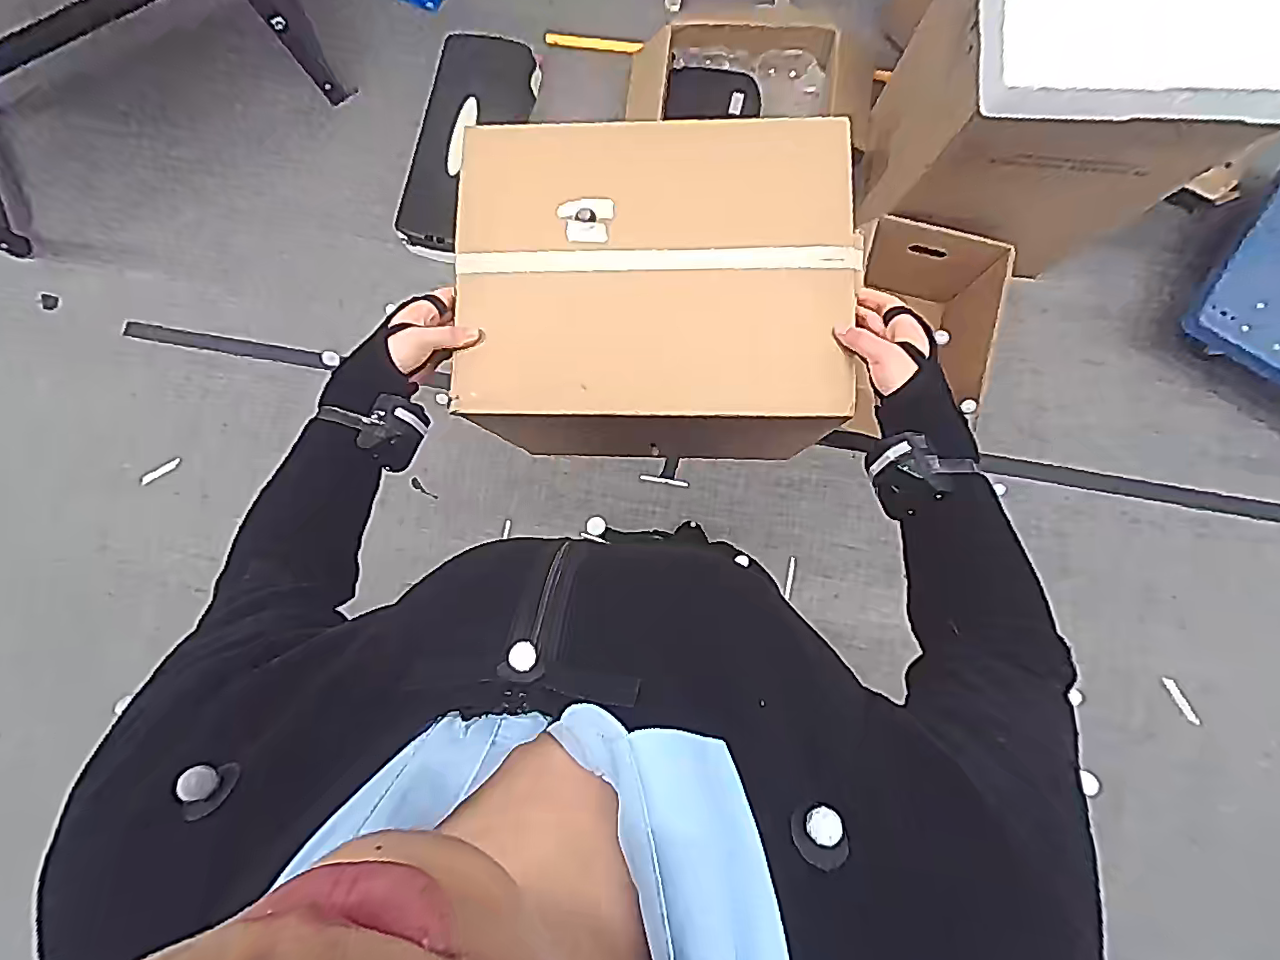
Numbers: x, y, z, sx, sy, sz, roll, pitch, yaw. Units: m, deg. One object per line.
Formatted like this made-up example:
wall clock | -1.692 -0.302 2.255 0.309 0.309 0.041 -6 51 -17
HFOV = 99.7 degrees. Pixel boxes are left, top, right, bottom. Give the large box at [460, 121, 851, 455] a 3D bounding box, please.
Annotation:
large box | 0.025 -0.204 0.708 0.408 0.320 0.320 0 83 5
